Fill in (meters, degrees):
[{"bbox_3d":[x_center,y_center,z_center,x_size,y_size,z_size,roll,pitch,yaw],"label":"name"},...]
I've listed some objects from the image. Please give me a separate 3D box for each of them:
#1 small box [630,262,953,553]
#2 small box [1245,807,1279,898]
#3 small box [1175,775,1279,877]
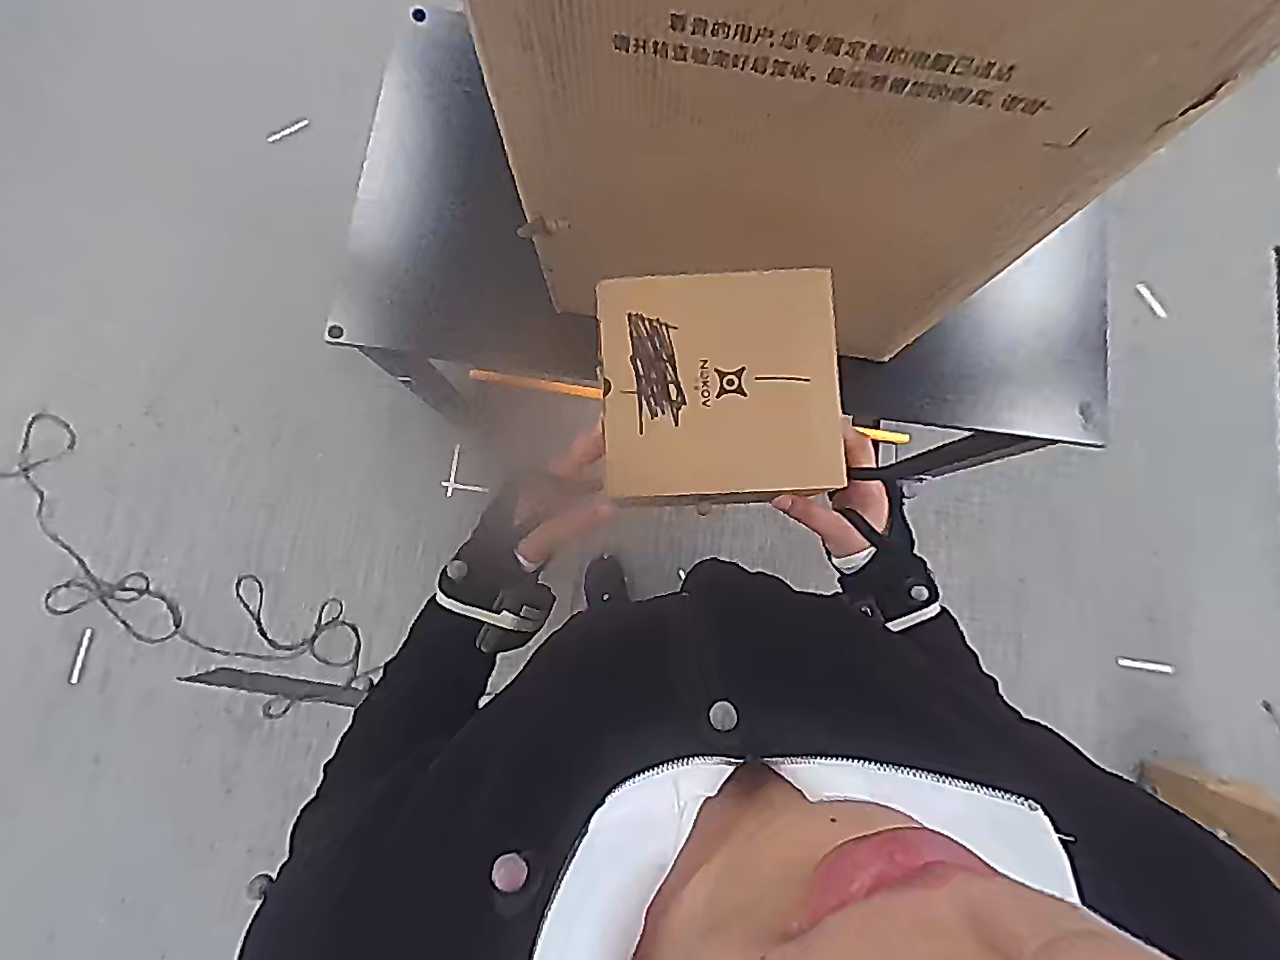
[{"bbox_3d":[0.087,-0.036,0.386,0.179,0.176,0.168,-2,86,1],"label":"small box"},{"bbox_3d":[1.453,0.819,1.138,0.179,0.176,0.168,8,81,0],"label":"small box"},{"bbox_3d":[1.458,0.835,1.303,0.179,0.176,0.168,7,81,1],"label":"small box"}]
